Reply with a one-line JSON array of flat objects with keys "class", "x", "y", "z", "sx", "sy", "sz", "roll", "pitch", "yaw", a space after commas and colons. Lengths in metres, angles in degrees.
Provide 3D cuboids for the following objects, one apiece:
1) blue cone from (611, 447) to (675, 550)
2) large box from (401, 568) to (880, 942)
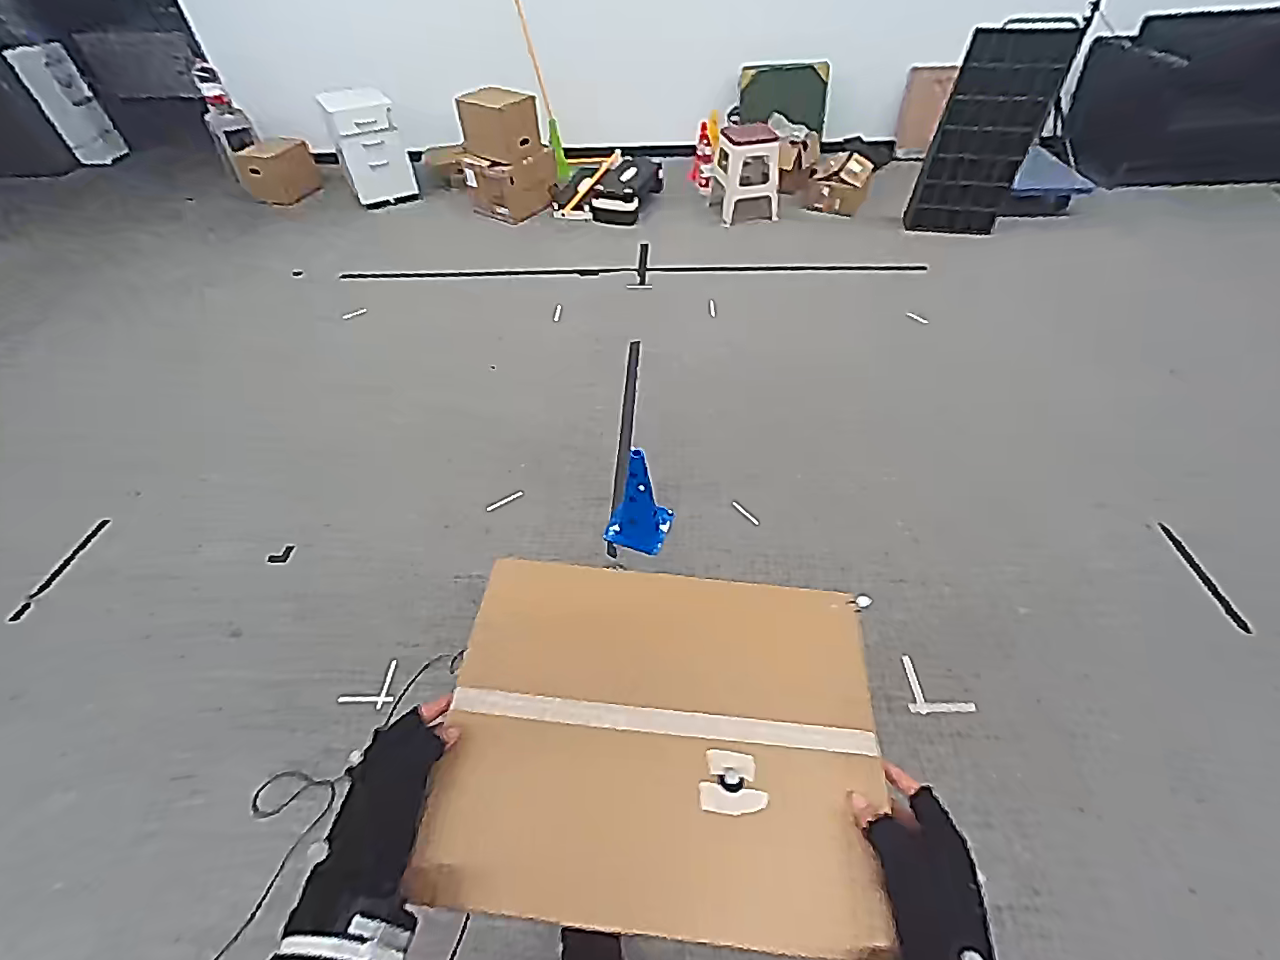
[{"class": "blue cone", "x": 0.006, "y": 0.045, "z": 1.764, "sx": 0.193, "sy": 0.380, "sz": 0.192, "roll": 17, "pitch": 50, "yaw": 17}, {"class": "large box", "x": 0.005, "y": 0.329, "z": 0.647, "sx": 0.408, "sy": 0.320, "sz": 0.320, "roll": 5, "pitch": 52, "yaw": 2}]
